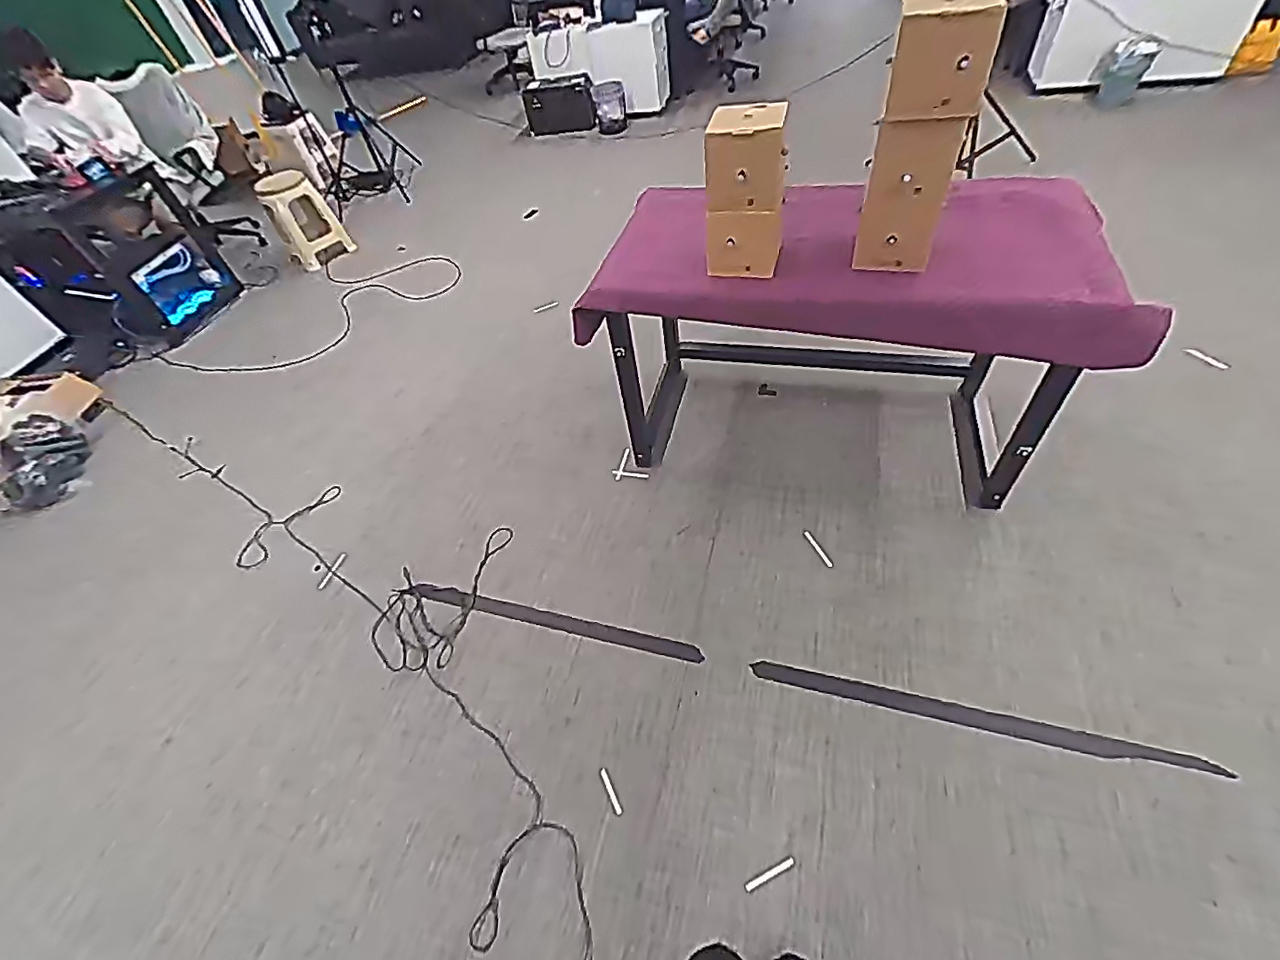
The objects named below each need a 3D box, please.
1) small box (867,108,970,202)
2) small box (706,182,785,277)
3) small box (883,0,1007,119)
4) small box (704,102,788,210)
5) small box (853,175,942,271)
[{"bbox_3d":[0.600,-0.730,1.178,0.168,0.176,0.179,10,53,18],"label":"small box"},{"bbox_3d":[0.268,-0.632,1.369,0.168,0.176,0.179,9,51,16],"label":"small box"},{"bbox_3d":[0.574,-0.816,1.041,0.168,0.176,0.179,8,52,15],"label":"small box"},{"bbox_3d":[0.247,-0.742,1.250,0.168,0.176,0.179,7,51,14],"label":"small box"},{"bbox_3d":[0.617,-0.623,1.301,0.168,0.176,0.179,11,53,17],"label":"small box"}]
